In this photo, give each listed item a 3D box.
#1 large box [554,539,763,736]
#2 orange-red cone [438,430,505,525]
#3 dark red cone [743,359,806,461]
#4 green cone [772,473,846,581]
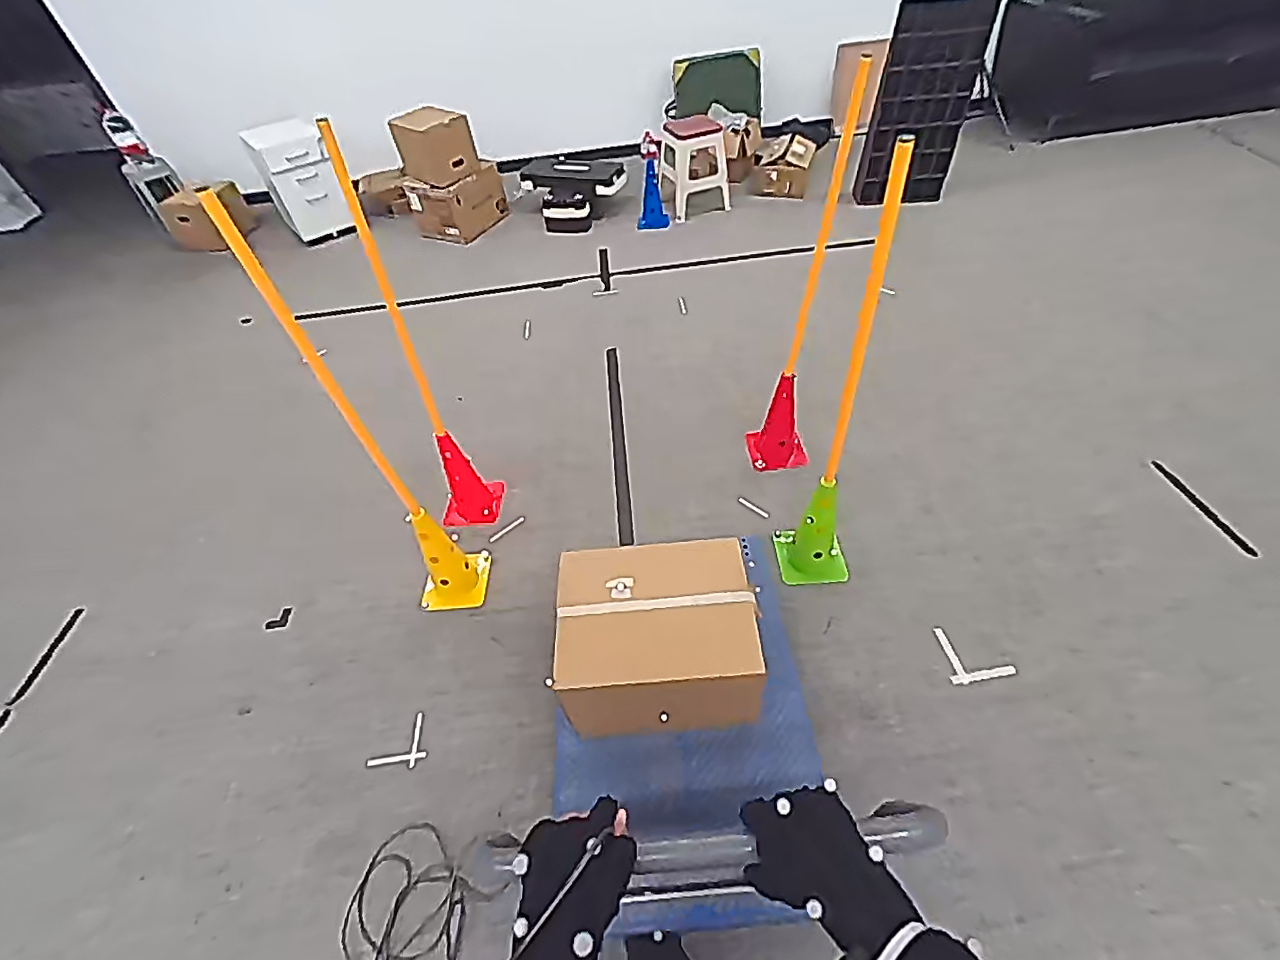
[{"bbox_3d":[0.041,0.364,1.228,0.408,0.320,0.320,-6,48,2],"label":"large box"},{"bbox_3d":[-0.618,-0.031,1.855,0.198,0.360,0.199,-1,47,4],"label":"orange-red cone"},{"bbox_3d":[0.494,-0.252,1.903,0.201,0.394,0.202,-6,48,-2],"label":"dark red cone"},{"bbox_3d":[0.521,0.118,1.590,0.202,0.368,0.200,-4,48,1],"label":"green cone"}]
